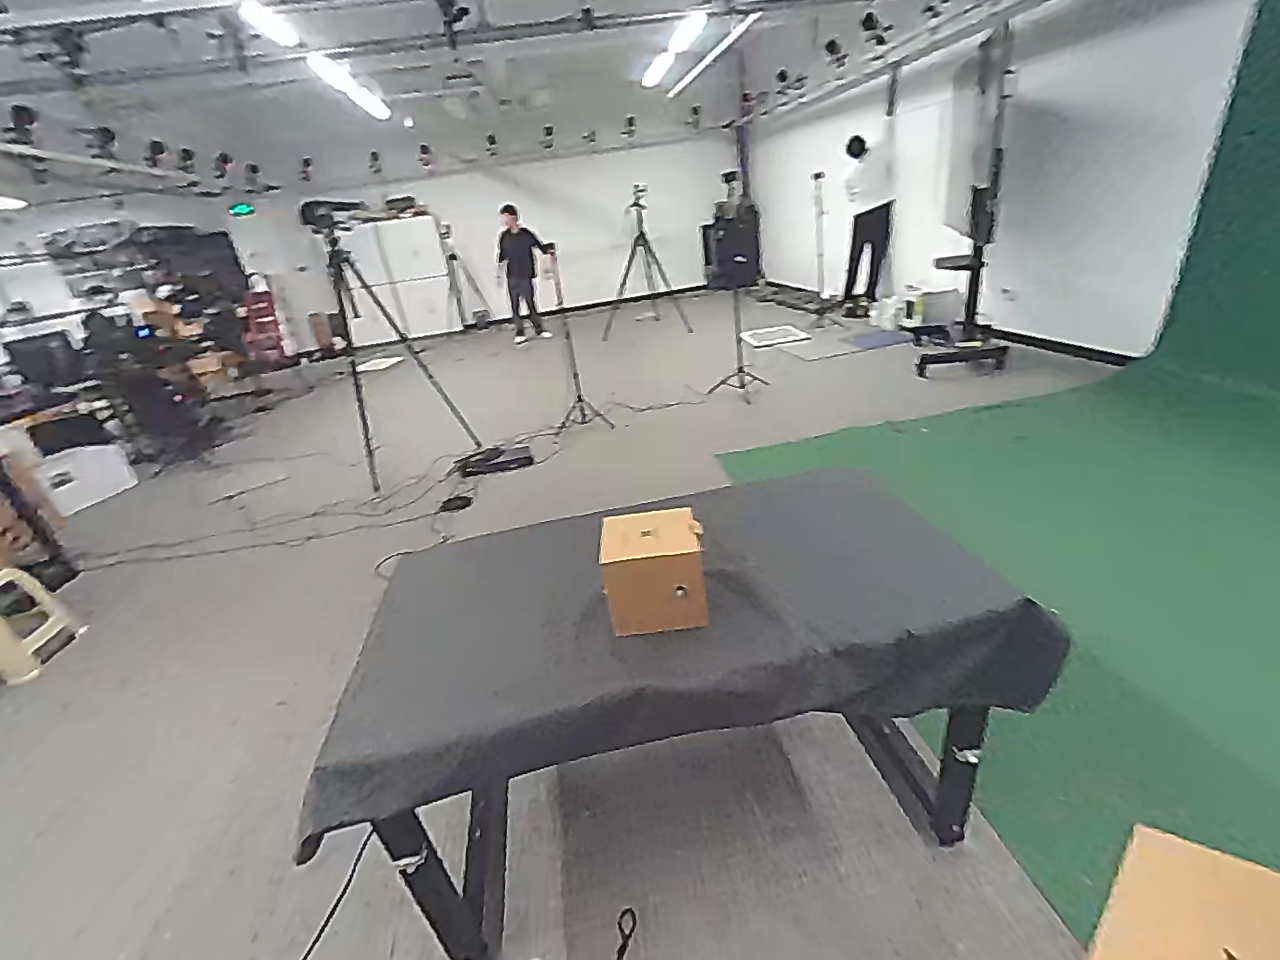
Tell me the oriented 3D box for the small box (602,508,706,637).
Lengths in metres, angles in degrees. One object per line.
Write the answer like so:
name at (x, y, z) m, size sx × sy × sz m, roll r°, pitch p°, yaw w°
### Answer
small box at (0.030, 0.175, 1.030) m, size 0.179 × 0.176 × 0.168 m, roll -9°, pitch 24°, yaw 2°
